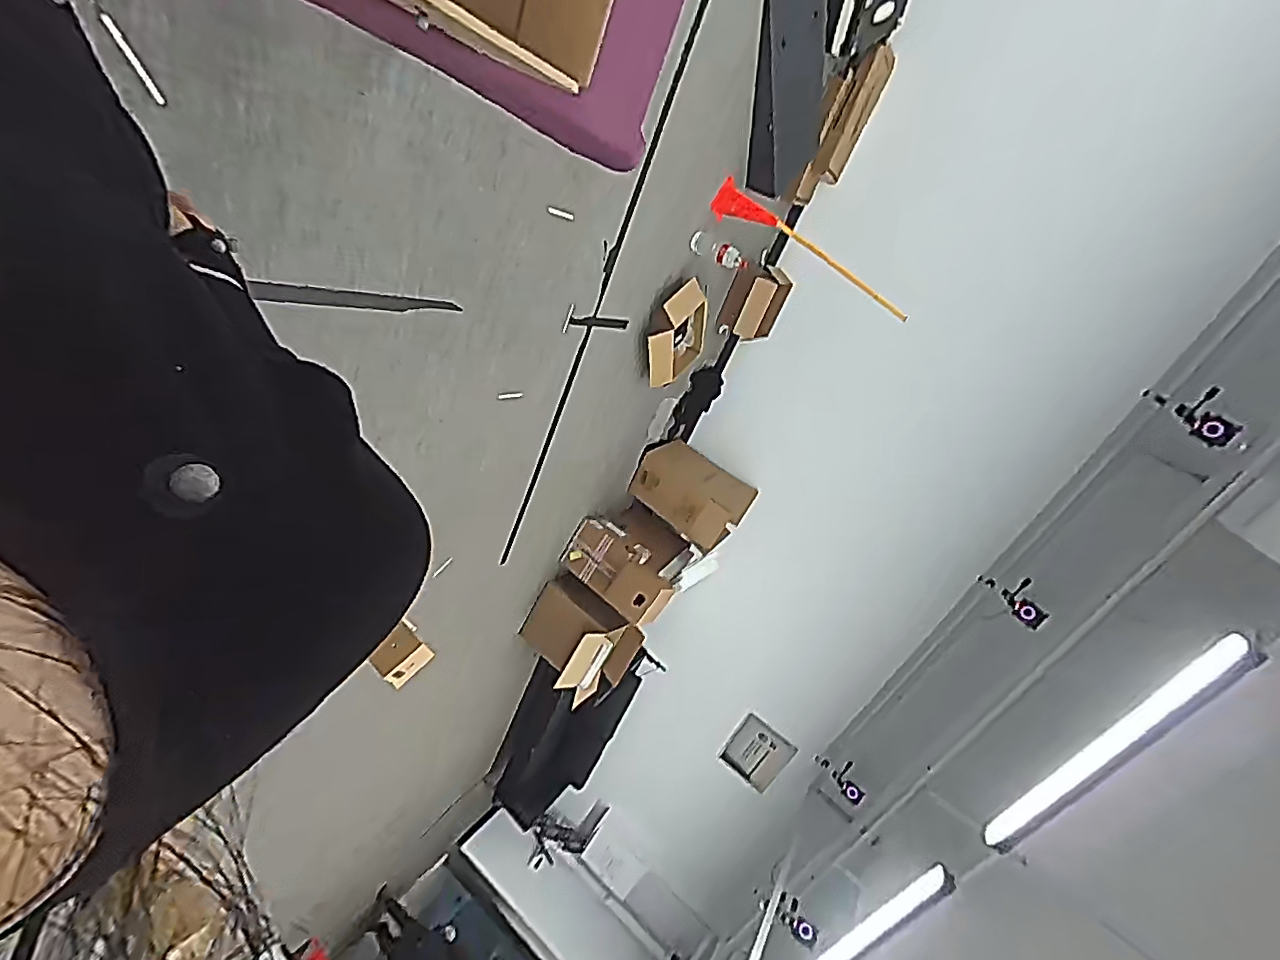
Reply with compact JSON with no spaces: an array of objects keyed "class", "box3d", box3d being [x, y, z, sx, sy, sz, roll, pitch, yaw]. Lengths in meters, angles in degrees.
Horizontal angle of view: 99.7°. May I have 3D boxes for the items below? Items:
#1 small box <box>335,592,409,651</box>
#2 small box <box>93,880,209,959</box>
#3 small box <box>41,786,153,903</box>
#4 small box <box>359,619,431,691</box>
[{"class":"small box","box3d":[-1.067,0.578,2.154,0.179,0.176,0.168,-44,159,-24]},{"class":"small box","box3d":[-1.206,1.148,1.336,0.168,0.176,0.179,-24,144,-57]},{"class":"small box","box3d":[-1.455,0.967,1.452,0.168,0.176,0.179,-25,146,-54]},{"class":"small box","box3d":[-0.949,0.672,2.084,0.179,0.176,0.168,-43,159,-27]}]
